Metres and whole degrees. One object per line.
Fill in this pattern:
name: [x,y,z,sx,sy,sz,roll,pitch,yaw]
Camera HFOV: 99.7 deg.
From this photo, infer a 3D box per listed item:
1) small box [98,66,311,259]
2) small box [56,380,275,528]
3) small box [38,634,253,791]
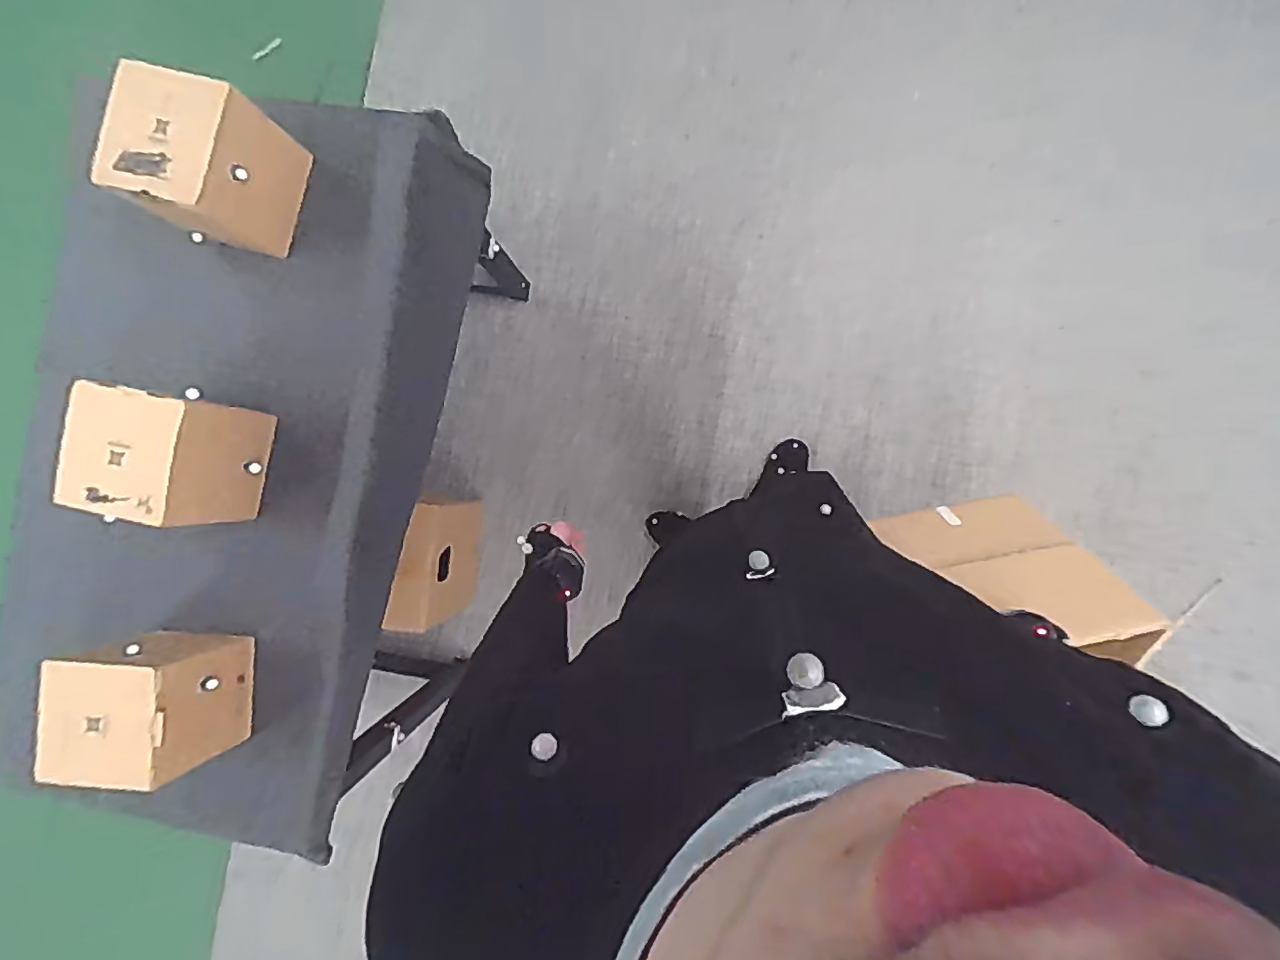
small box: [-0.637,-0.462,0.814,0.168,0.176,0.179,16,90,4]
small box: [-0.695,-0.034,0.814,0.168,0.176,0.179,12,89,5]
small box: [-0.725,0.334,0.811,0.179,0.176,0.168,1,87,7]
